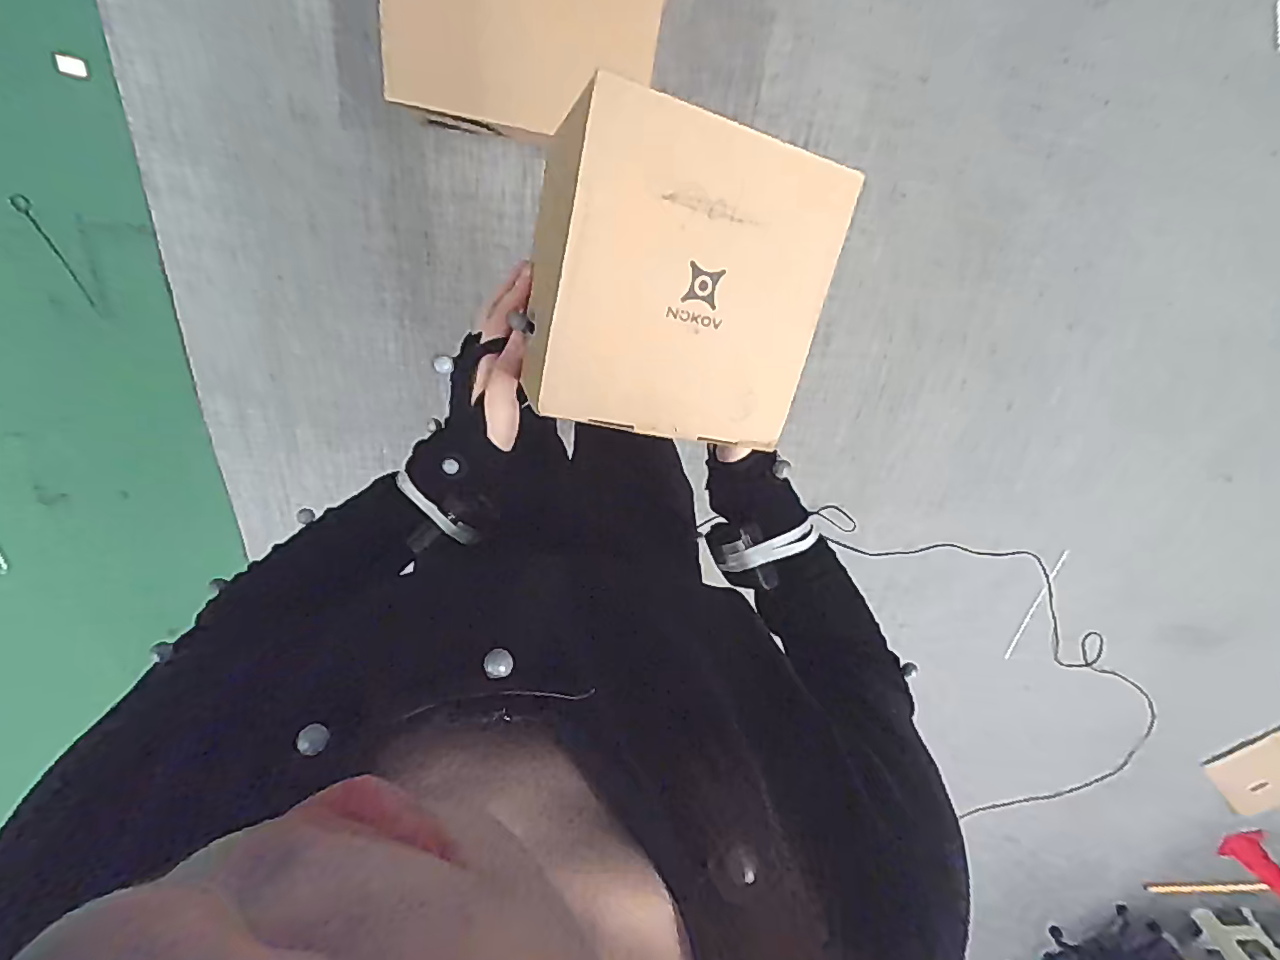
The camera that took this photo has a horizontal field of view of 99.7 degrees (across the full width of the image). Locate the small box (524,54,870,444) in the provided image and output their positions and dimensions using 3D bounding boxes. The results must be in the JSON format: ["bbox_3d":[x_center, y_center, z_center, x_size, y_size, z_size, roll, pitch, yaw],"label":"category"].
[{"bbox_3d":[0.016,-0.143,0.382,0.168,0.176,0.179,8,109,-20],"label":"small box"}]
